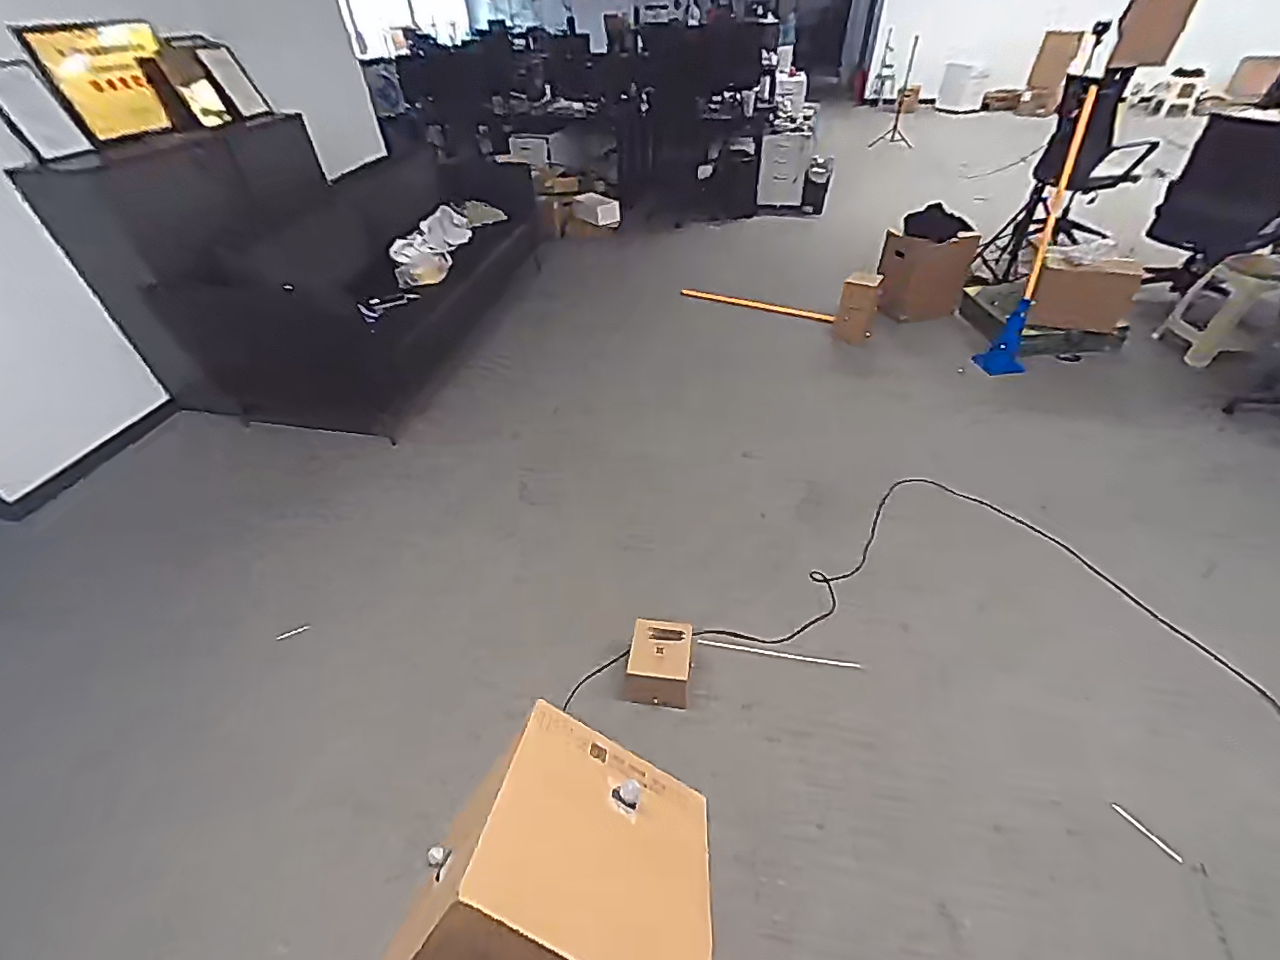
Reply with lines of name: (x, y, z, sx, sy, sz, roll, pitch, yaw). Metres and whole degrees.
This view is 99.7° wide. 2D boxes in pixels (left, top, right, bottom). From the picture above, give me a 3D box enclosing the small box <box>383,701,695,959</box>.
small box: (-0.067, 0.311, 0.401, 0.168, 0.179, 0.176, 33, 14, -3)
